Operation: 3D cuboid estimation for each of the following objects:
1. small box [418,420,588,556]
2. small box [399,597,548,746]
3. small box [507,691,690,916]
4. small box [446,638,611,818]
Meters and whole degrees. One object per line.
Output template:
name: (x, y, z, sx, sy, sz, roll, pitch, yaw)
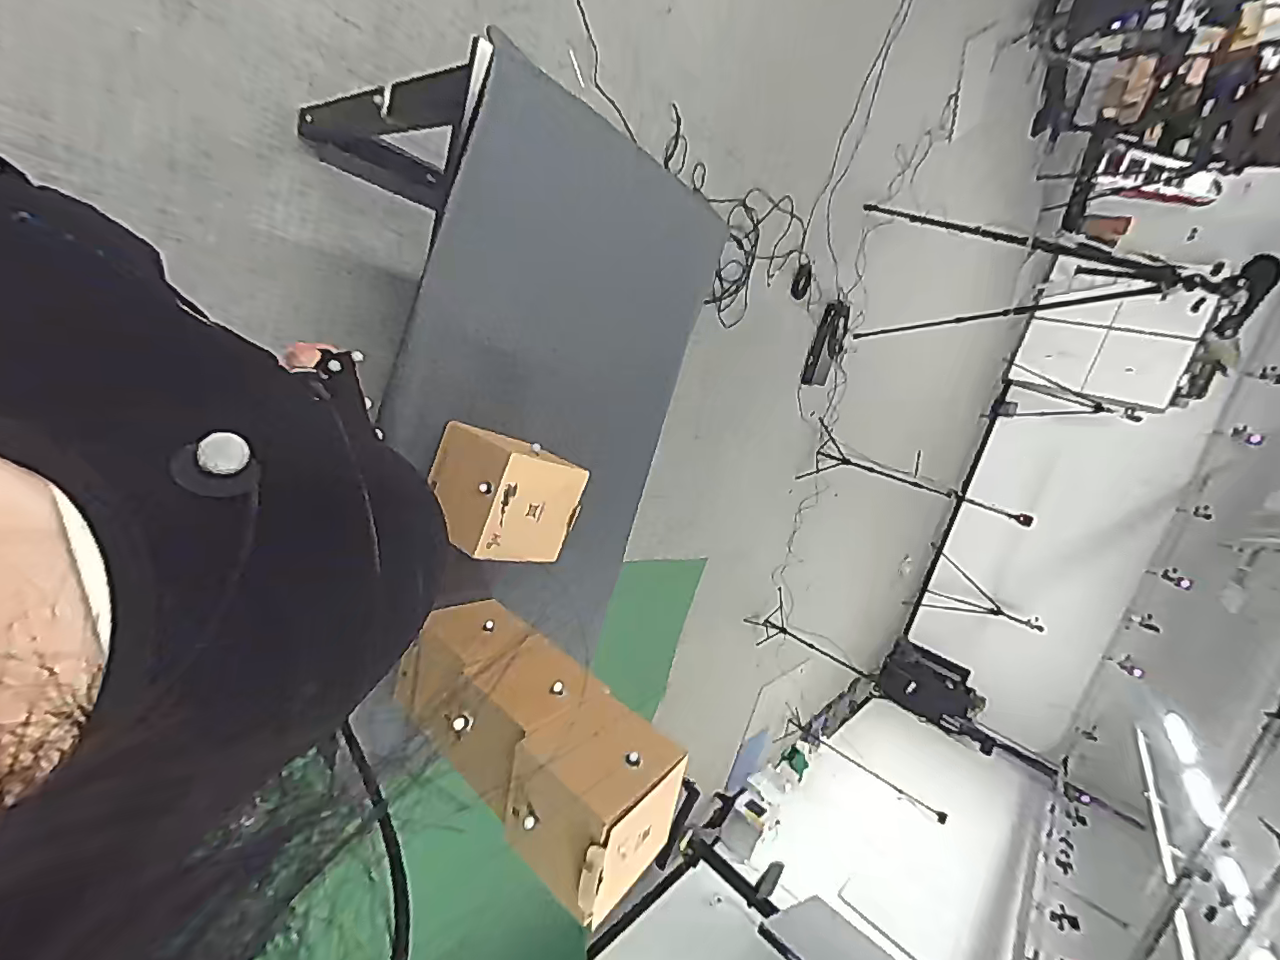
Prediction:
small box: (-0.222, 0.014, 0.882, 0.179, 0.176, 0.168, 15, 97, -55)
small box: (-0.297, 0.326, 0.957, 0.179, 0.176, 0.168, 1, 107, -54)
small box: (-0.058, 0.430, 0.758, 0.179, 0.176, 0.168, -9, 114, -51)
small box: (-0.177, 0.376, 0.860, 0.179, 0.176, 0.168, -4, 110, -51)
